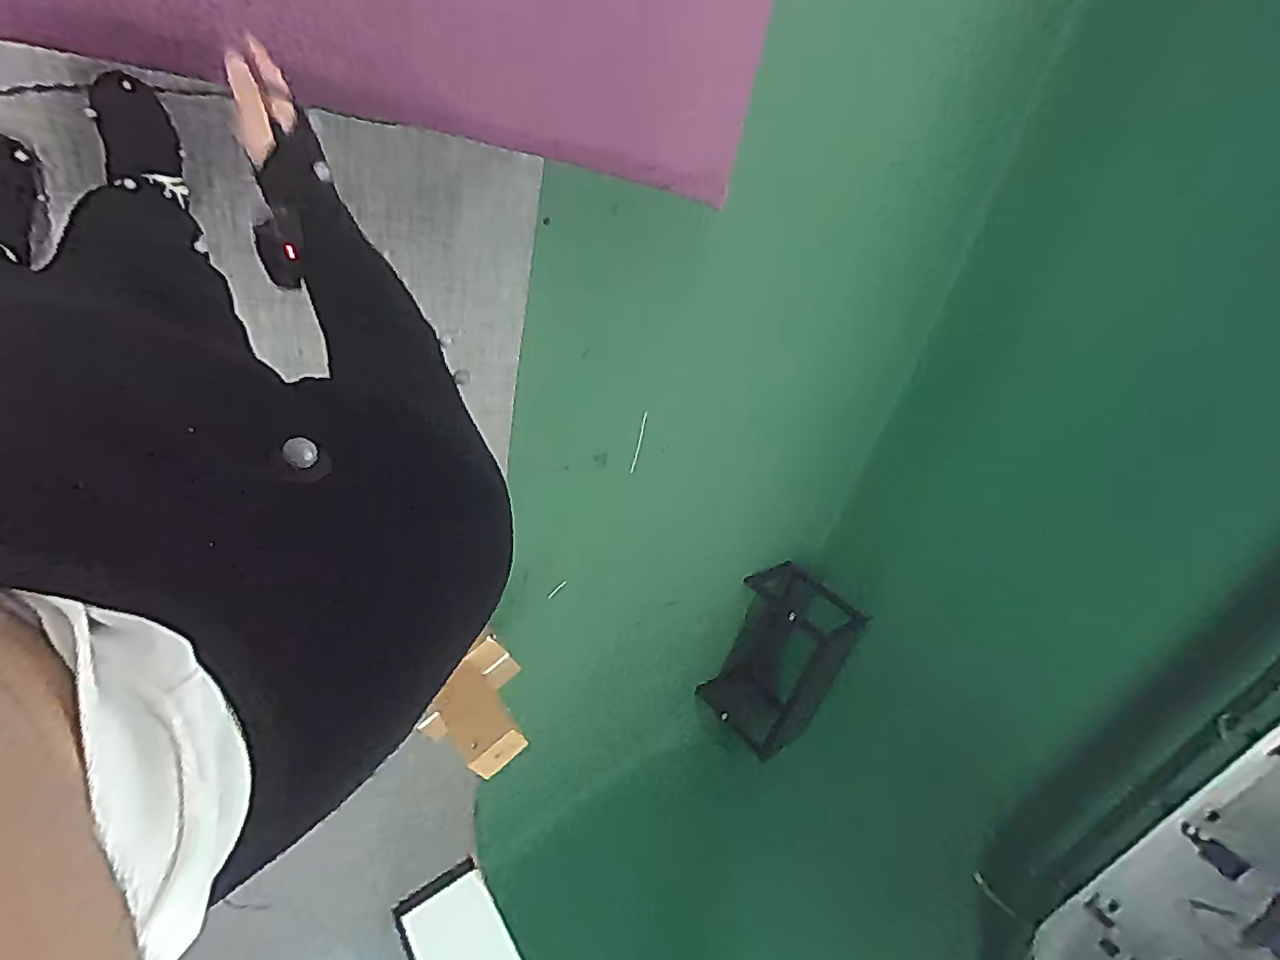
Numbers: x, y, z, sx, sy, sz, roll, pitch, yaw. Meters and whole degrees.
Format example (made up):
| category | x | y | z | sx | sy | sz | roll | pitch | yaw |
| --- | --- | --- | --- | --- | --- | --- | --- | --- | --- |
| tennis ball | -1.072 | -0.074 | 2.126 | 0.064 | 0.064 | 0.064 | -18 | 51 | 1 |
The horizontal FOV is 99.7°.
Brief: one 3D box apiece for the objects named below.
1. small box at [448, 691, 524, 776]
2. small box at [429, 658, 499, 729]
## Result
| category | x | y | z | sx | sy | sz | roll | pitch | yaw |
| --- | --- | --- | --- | --- | --- | --- | --- | --- | --- |
| small box | -0.534 | 0.867 | 1.857 | 0.179 | 0.176 | 0.168 | -36 | 141 | -19 |
| small box | -0.637 | 0.786 | 1.957 | 0.179 | 0.176 | 0.168 | -38 | 141 | -18 |
